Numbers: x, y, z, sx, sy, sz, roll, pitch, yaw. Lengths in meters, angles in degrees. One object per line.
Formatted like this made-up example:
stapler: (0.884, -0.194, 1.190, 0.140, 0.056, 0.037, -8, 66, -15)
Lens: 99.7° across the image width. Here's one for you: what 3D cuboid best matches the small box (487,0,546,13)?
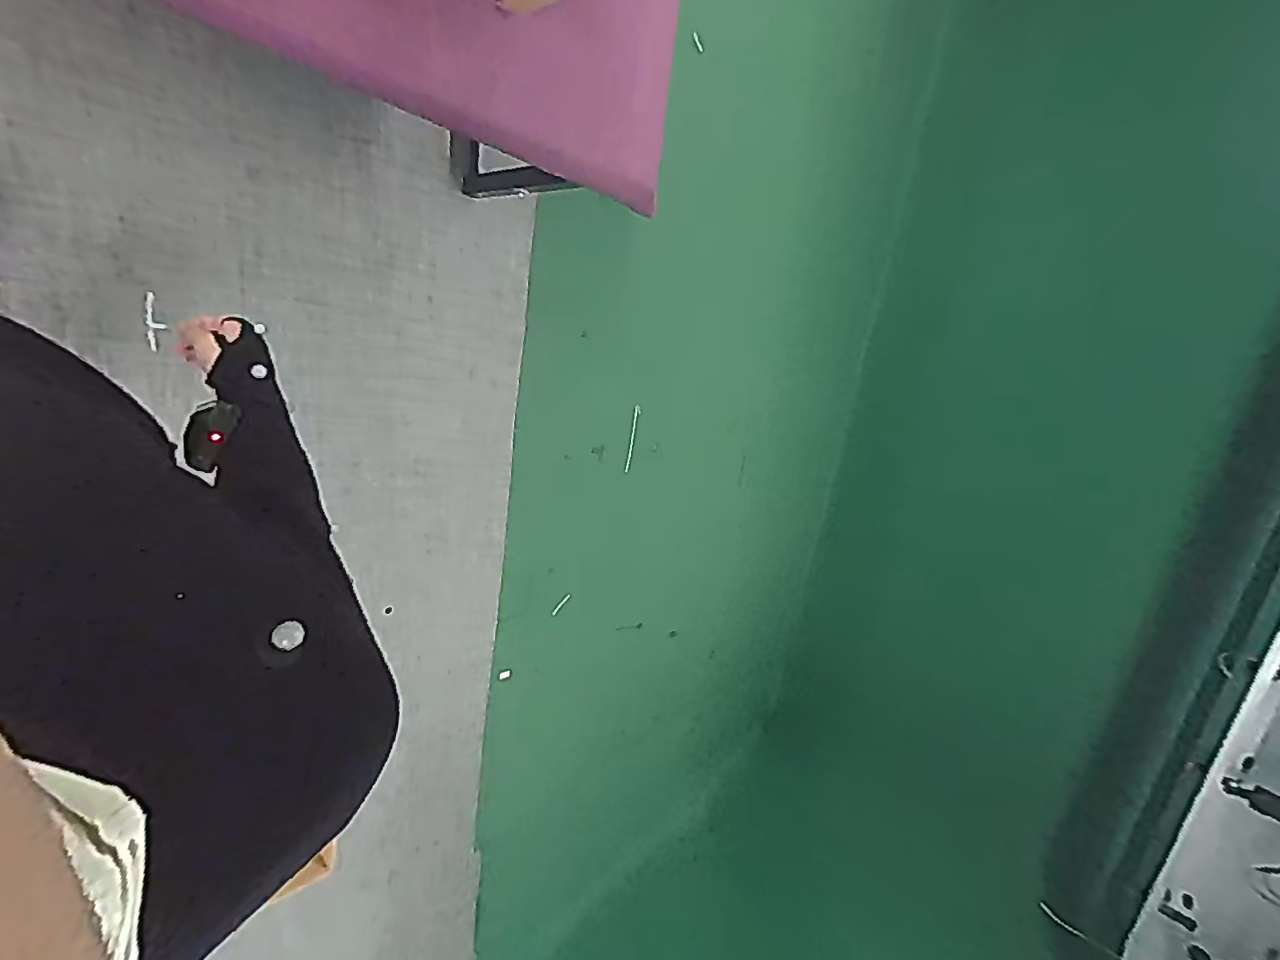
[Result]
small box: (-0.191, -0.817, 0.761, 0.168, 0.176, 0.179, -13, 115, -46)
